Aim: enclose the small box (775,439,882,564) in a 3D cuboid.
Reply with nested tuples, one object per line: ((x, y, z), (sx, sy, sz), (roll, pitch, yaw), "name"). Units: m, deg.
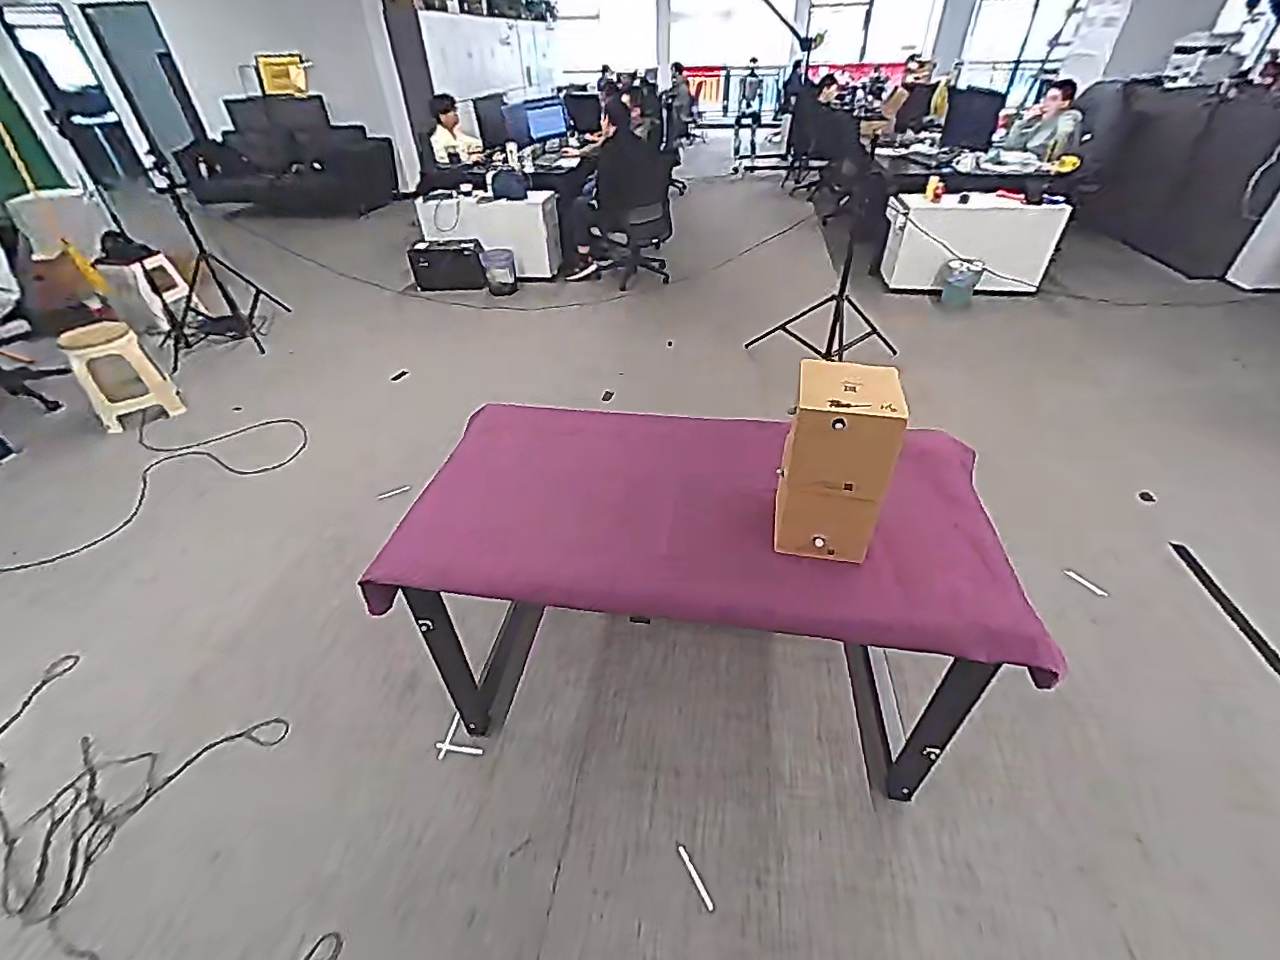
((0.359, 0.036, 1.058), (0.168, 0.176, 0.179), (6, 40, 11), "small box")

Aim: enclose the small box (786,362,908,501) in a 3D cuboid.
((0.353, -0.089, 0.952), (0.168, 0.176, 0.179), (7, 39, 12), "small box")
